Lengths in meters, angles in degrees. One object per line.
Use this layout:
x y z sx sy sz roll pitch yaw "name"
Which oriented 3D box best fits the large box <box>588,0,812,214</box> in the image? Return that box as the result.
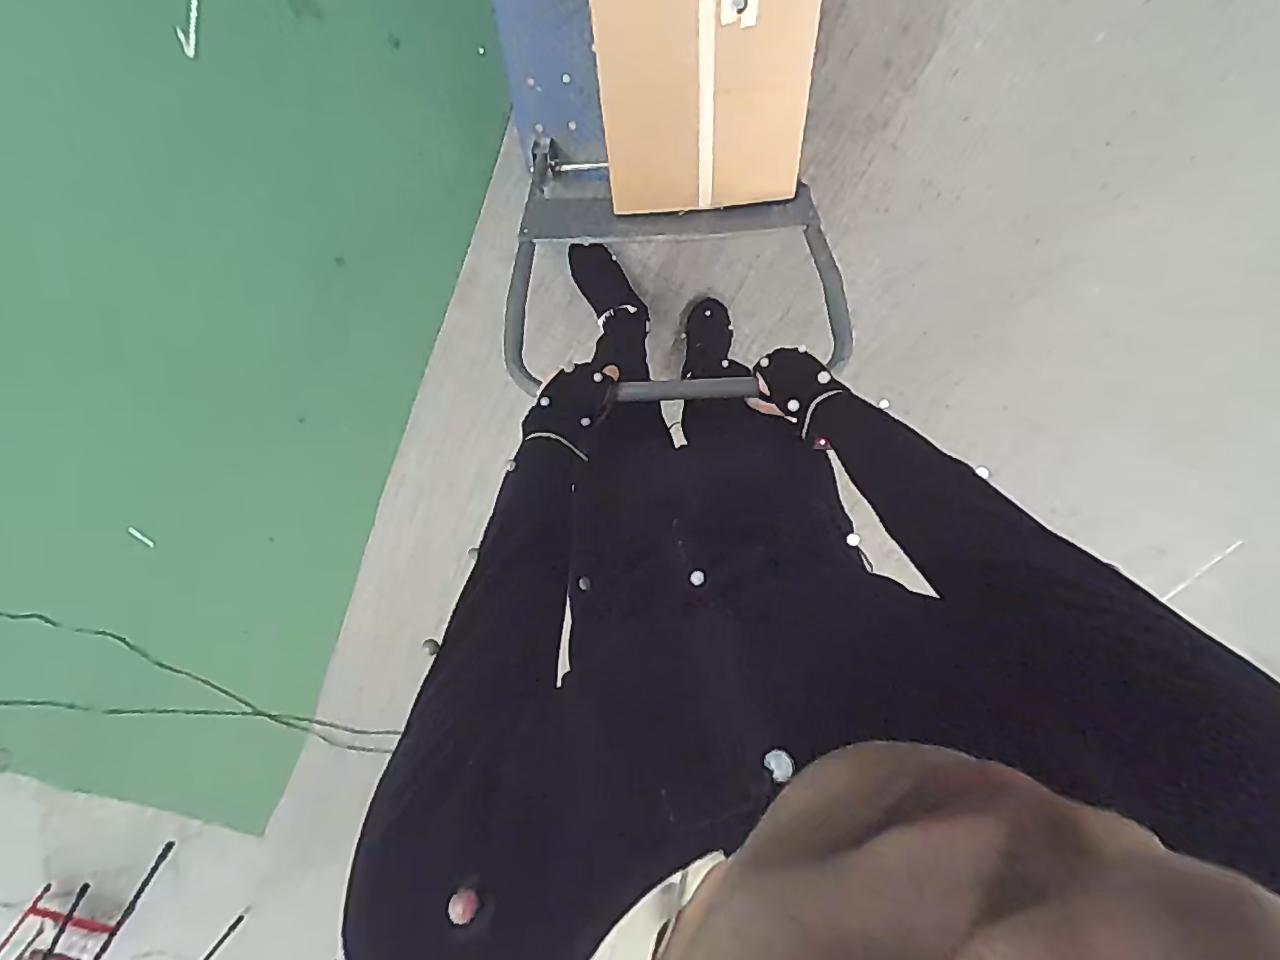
0.091 -0.721 0.899 0.320 0.320 0.408 -3 140 3 "large box"
